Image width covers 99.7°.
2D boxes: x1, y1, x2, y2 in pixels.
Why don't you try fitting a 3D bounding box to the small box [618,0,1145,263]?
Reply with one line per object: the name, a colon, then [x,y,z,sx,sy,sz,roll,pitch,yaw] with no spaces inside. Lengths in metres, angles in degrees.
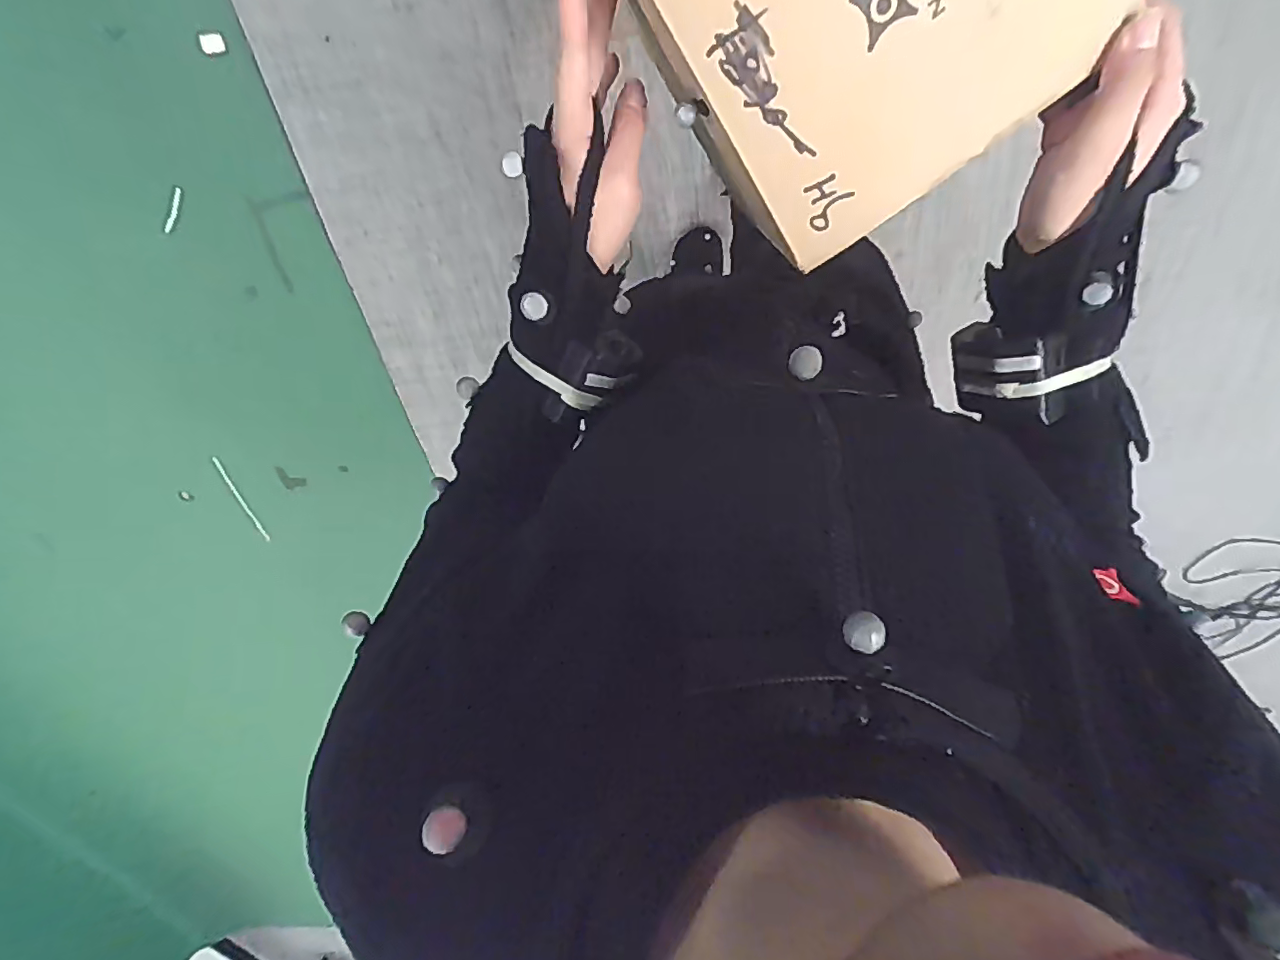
small box: [0.102,-0.258,0.286,0.179,0.176,0.168,-33,125,18]
